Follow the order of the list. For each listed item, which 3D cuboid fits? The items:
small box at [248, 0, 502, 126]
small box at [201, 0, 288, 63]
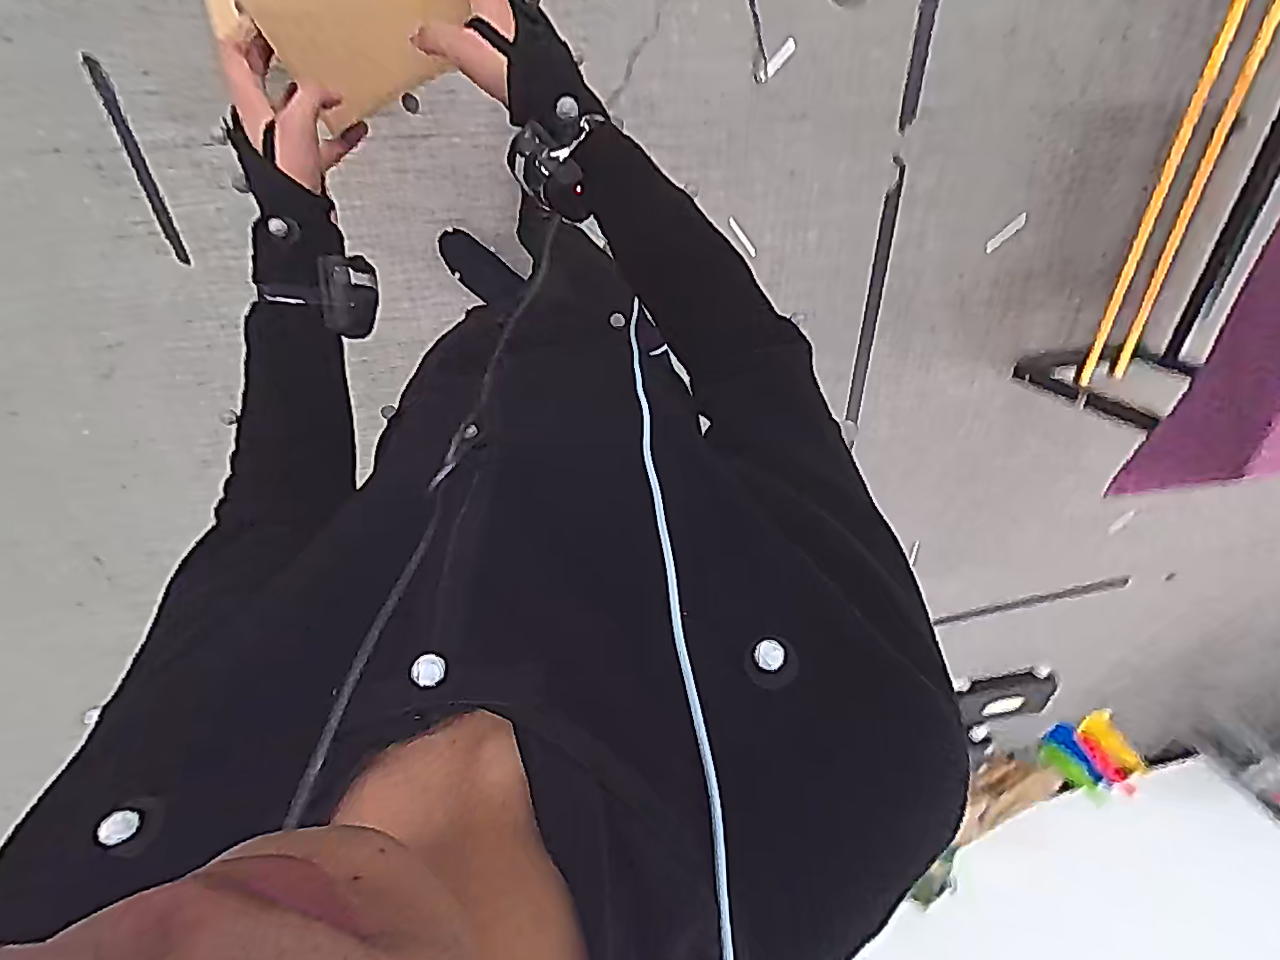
[{"bbox_3d":[-0.227,-0.435,0.450,0.168,0.176,0.179,-23,130,6],"label":"small box"},{"bbox_3d":[-0.701,-0.902,1.020,0.179,0.176,0.168,-5,120,-10],"label":"small box"}]
